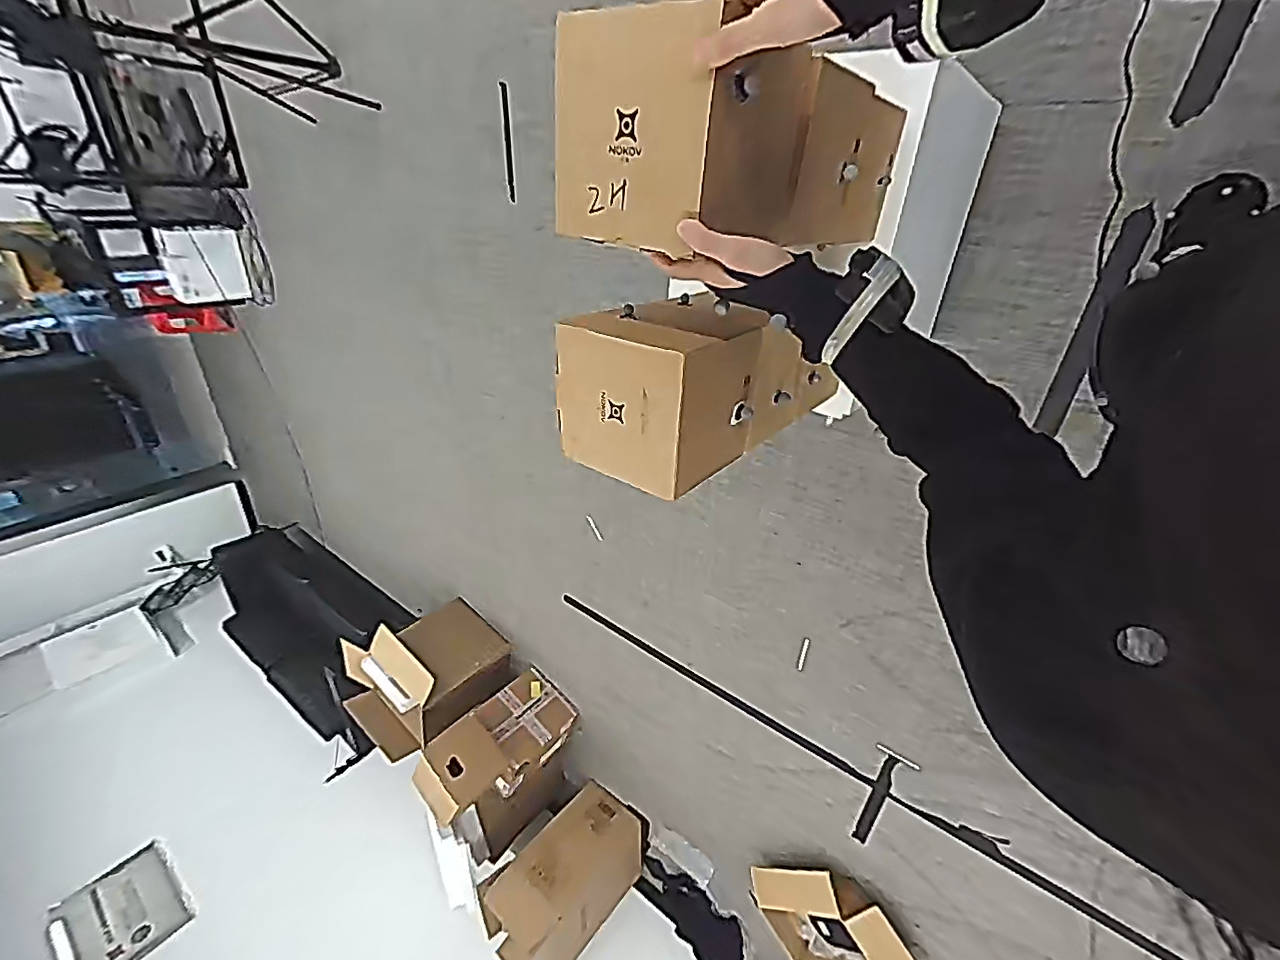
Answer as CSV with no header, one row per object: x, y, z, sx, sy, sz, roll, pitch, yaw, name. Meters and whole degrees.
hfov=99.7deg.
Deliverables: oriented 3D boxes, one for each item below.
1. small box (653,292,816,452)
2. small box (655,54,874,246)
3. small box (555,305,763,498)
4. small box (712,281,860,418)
0.124,-0.161,0.754,0.179,0.176,0.168,23,124,33,small box
0.142,-0.375,0.627,0.179,0.176,0.168,24,126,29,small box
0.021,-0.106,0.641,0.179,0.176,0.168,22,125,32,small box
0.223,-0.219,0.869,0.179,0.176,0.168,24,126,32,small box
